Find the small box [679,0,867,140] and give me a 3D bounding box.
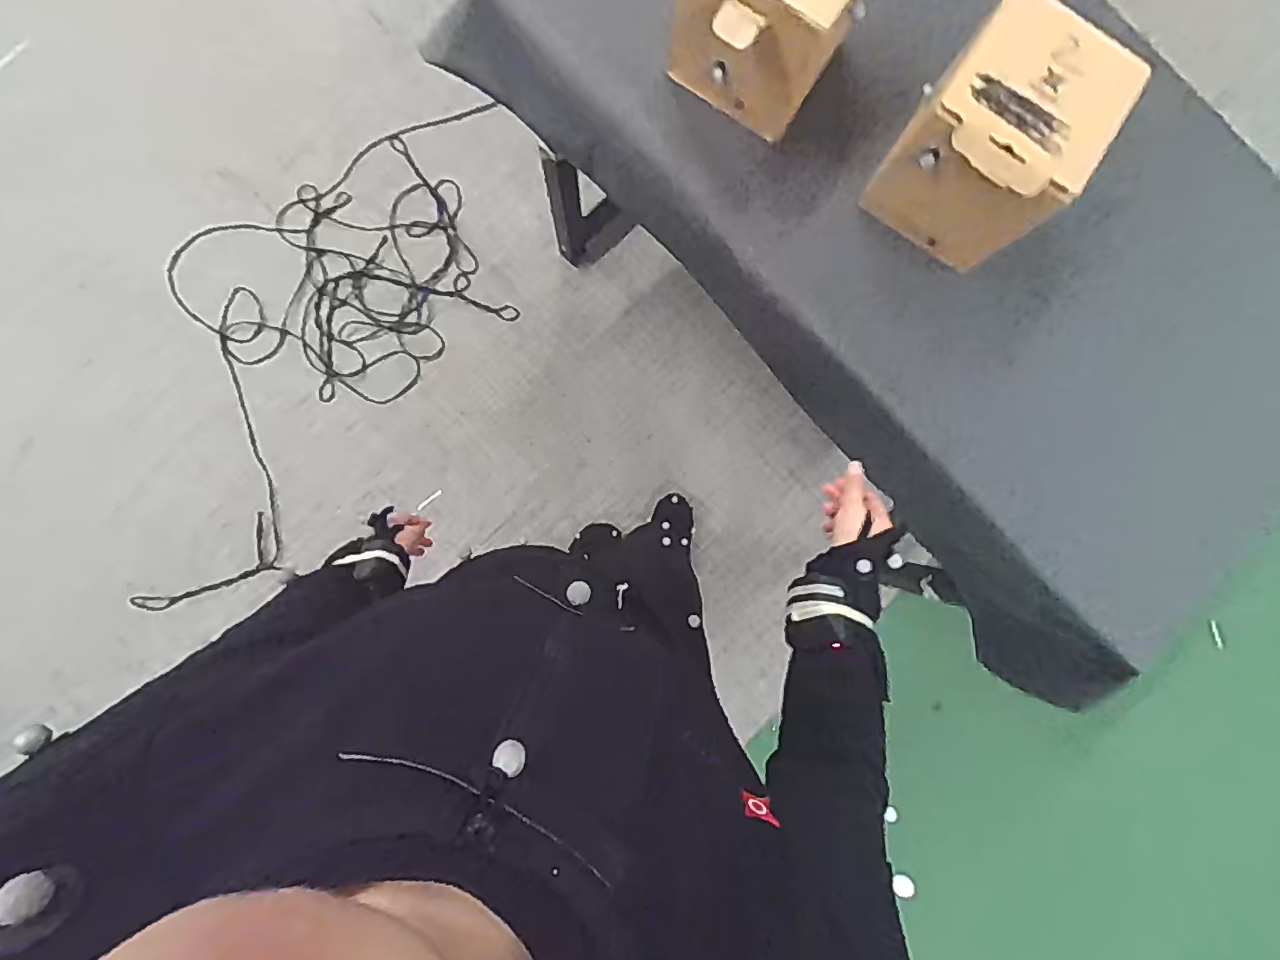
[{"bbox_3d":[0.159,-0.544,0.610,0.168,0.176,0.179,32,86,-2],"label":"small box"}]
